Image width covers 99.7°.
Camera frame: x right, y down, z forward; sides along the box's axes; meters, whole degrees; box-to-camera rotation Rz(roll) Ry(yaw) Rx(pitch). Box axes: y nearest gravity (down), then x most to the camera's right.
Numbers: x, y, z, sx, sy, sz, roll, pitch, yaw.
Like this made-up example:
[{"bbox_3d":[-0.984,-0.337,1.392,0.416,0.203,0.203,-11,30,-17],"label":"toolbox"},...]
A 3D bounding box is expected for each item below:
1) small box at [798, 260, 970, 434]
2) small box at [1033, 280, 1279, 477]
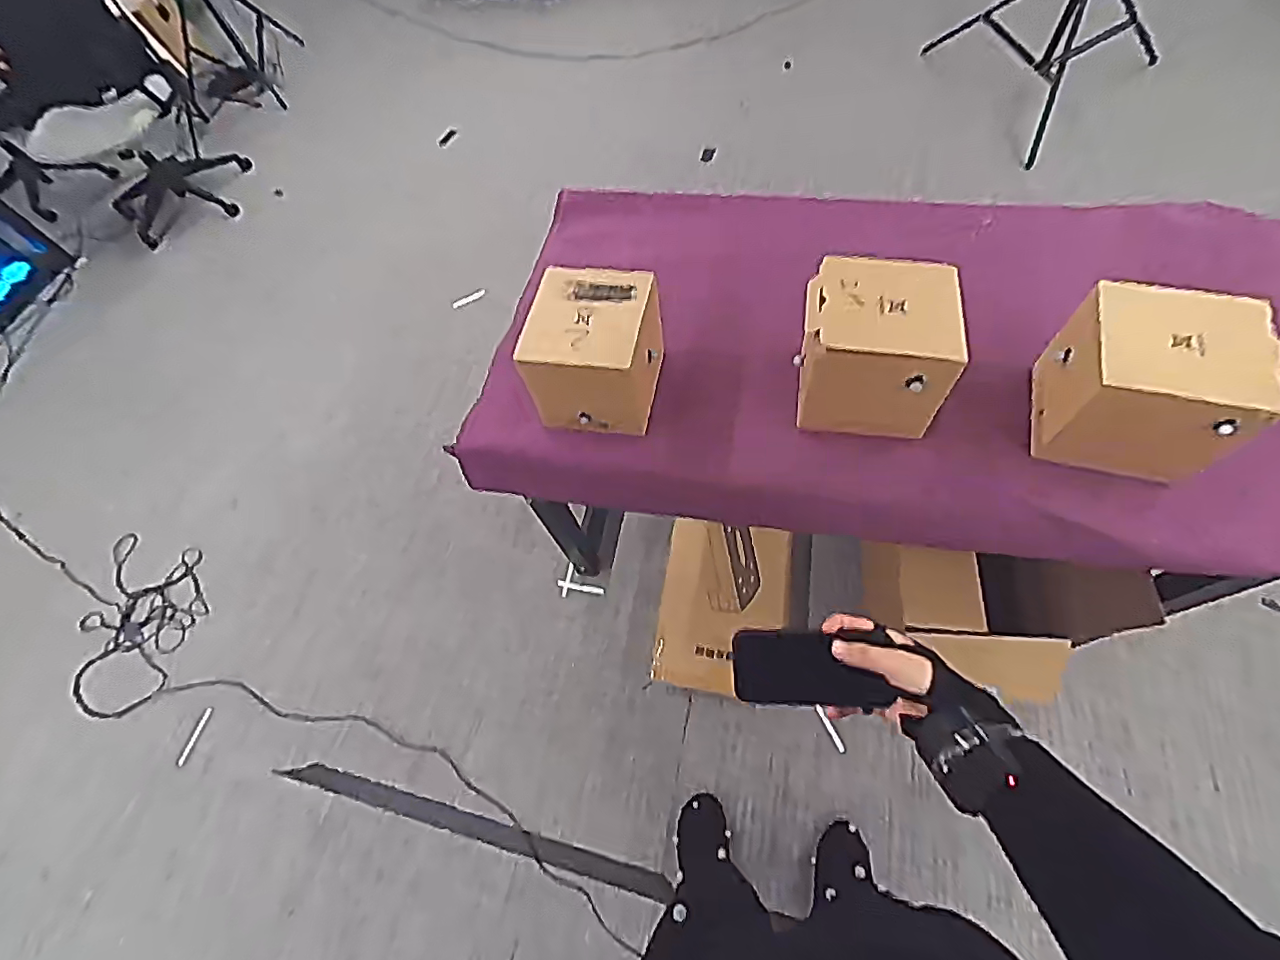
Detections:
[{"bbox_3d":[0.326,-0.179,0.754,0.179,0.176,0.168,6,61,11],"label":"small box"},{"bbox_3d":[0.631,-0.122,0.683,0.179,0.176,0.168,13,65,14],"label":"small box"}]
